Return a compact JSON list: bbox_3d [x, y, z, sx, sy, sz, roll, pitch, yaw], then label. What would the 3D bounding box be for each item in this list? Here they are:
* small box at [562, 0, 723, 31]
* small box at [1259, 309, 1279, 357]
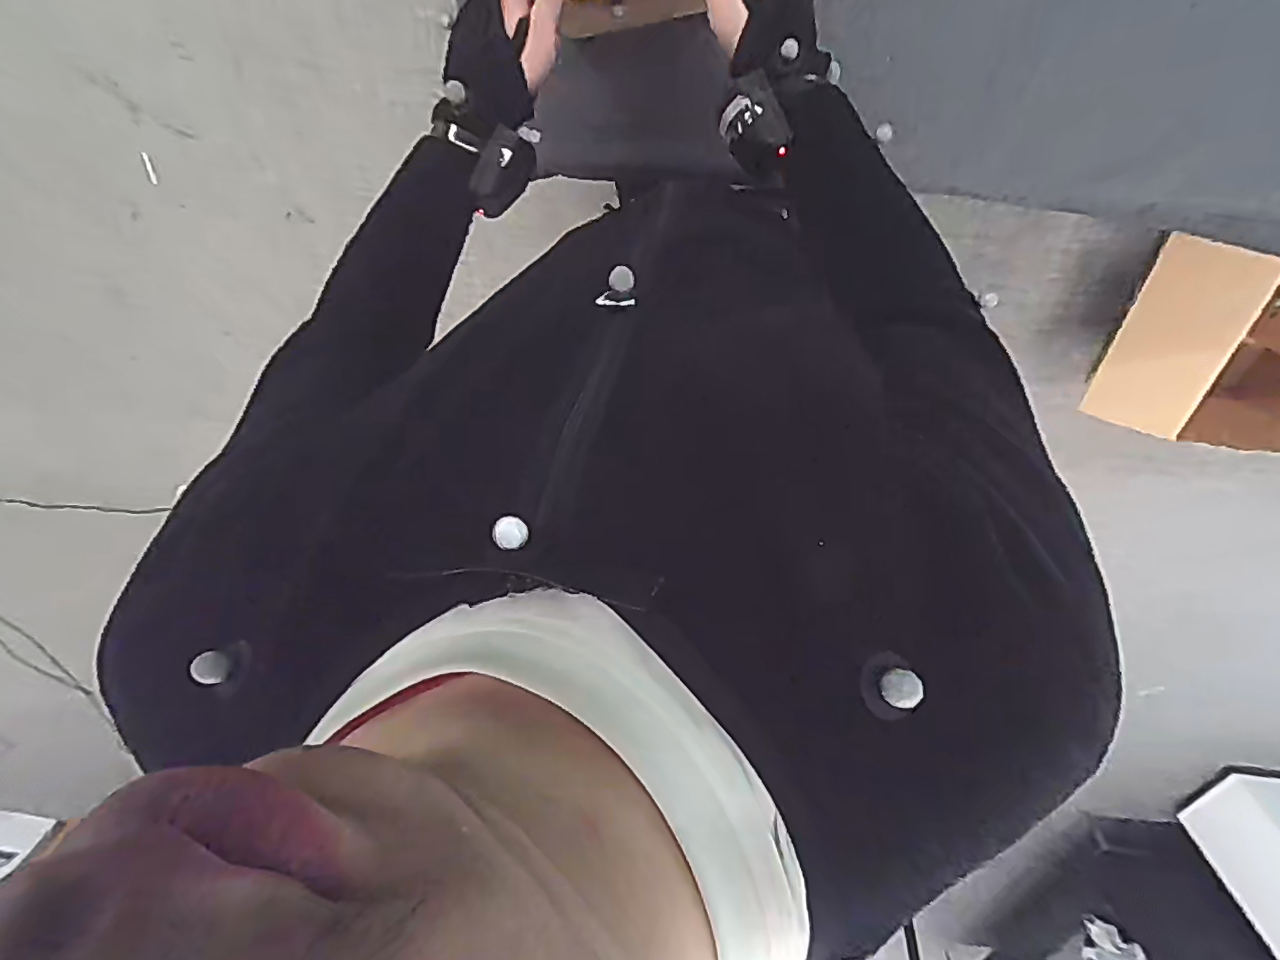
[{"bbox_3d":[-0.005,-0.512,0.451,0.168,0.176,0.179,-5,122,8],"label":"small box"},{"bbox_3d":[1.466,-0.320,1.101,0.179,0.176,0.168,0,126,7],"label":"small box"}]
